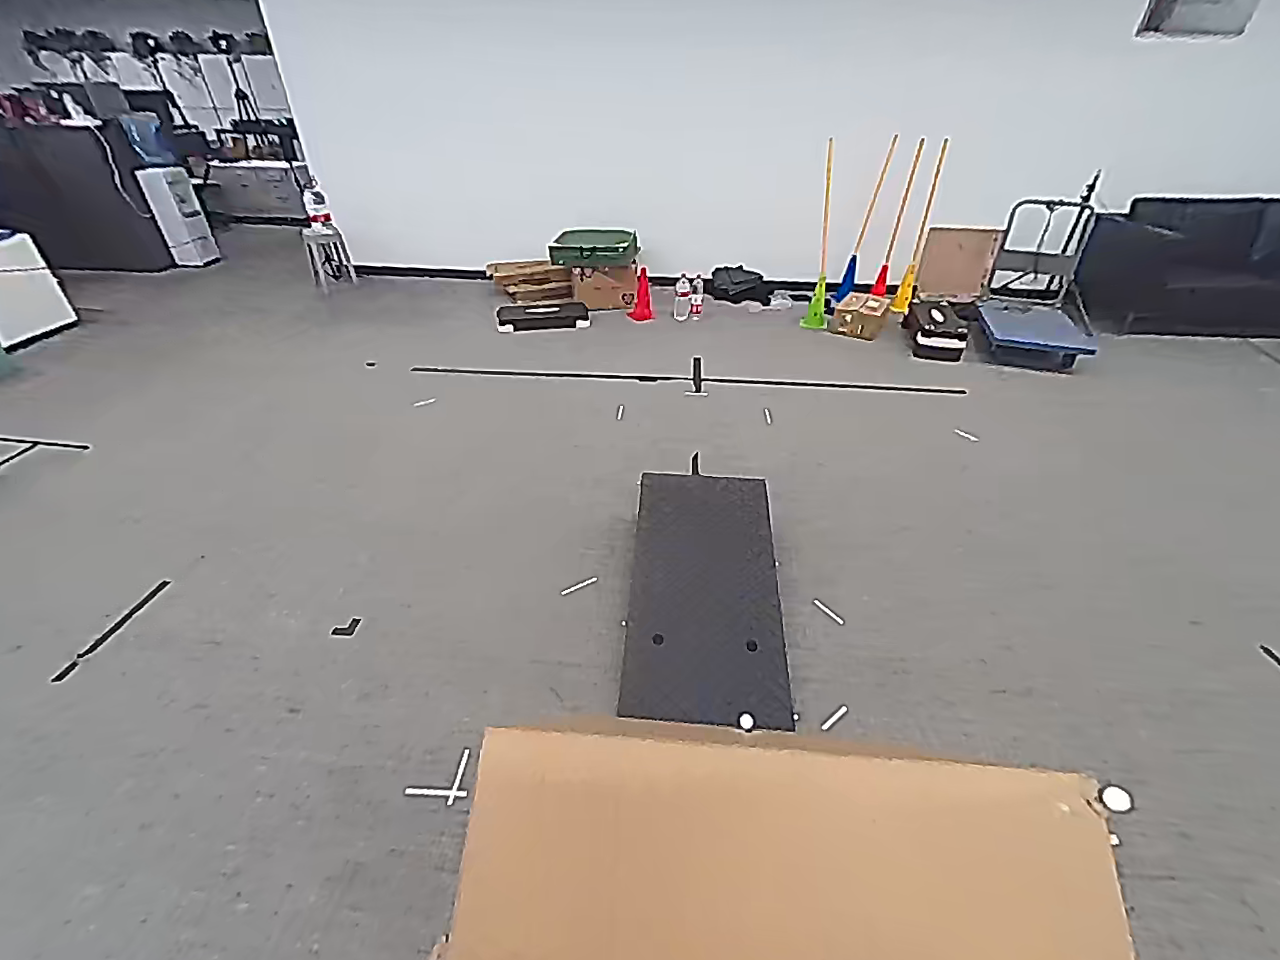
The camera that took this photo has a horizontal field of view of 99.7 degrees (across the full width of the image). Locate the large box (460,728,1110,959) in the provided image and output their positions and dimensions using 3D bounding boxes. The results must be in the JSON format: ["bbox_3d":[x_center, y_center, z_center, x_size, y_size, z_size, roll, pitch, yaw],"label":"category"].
[{"bbox_3d":[0.088,0.389,0.458,0.408,0.320,0.320,2,69,4],"label":"large box"}]

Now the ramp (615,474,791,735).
[{"bbox_3d":[0.204,0.356,1.804,0.509,0.206,0.991,3,37,0],"label":"ramp"}]
